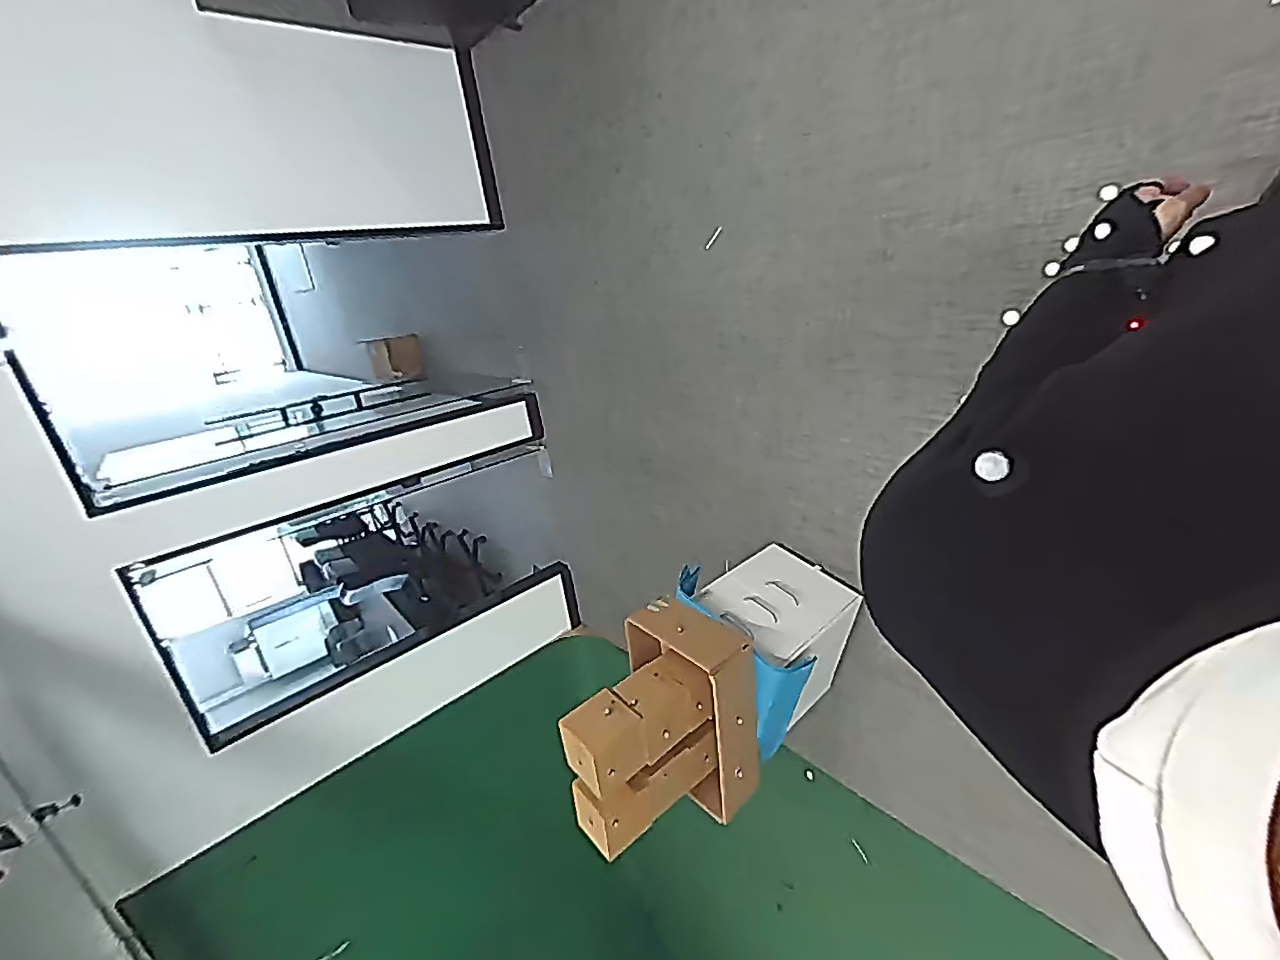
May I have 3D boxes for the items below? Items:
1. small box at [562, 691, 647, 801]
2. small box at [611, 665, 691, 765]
[{"bbox_3d":[-0.094,0.737,1.516,0.168,0.176,0.179,19,123,46],"label":"small box"},{"bbox_3d":[0.036,0.692,1.609,0.168,0.176,0.179,17,123,47],"label":"small box"}]
